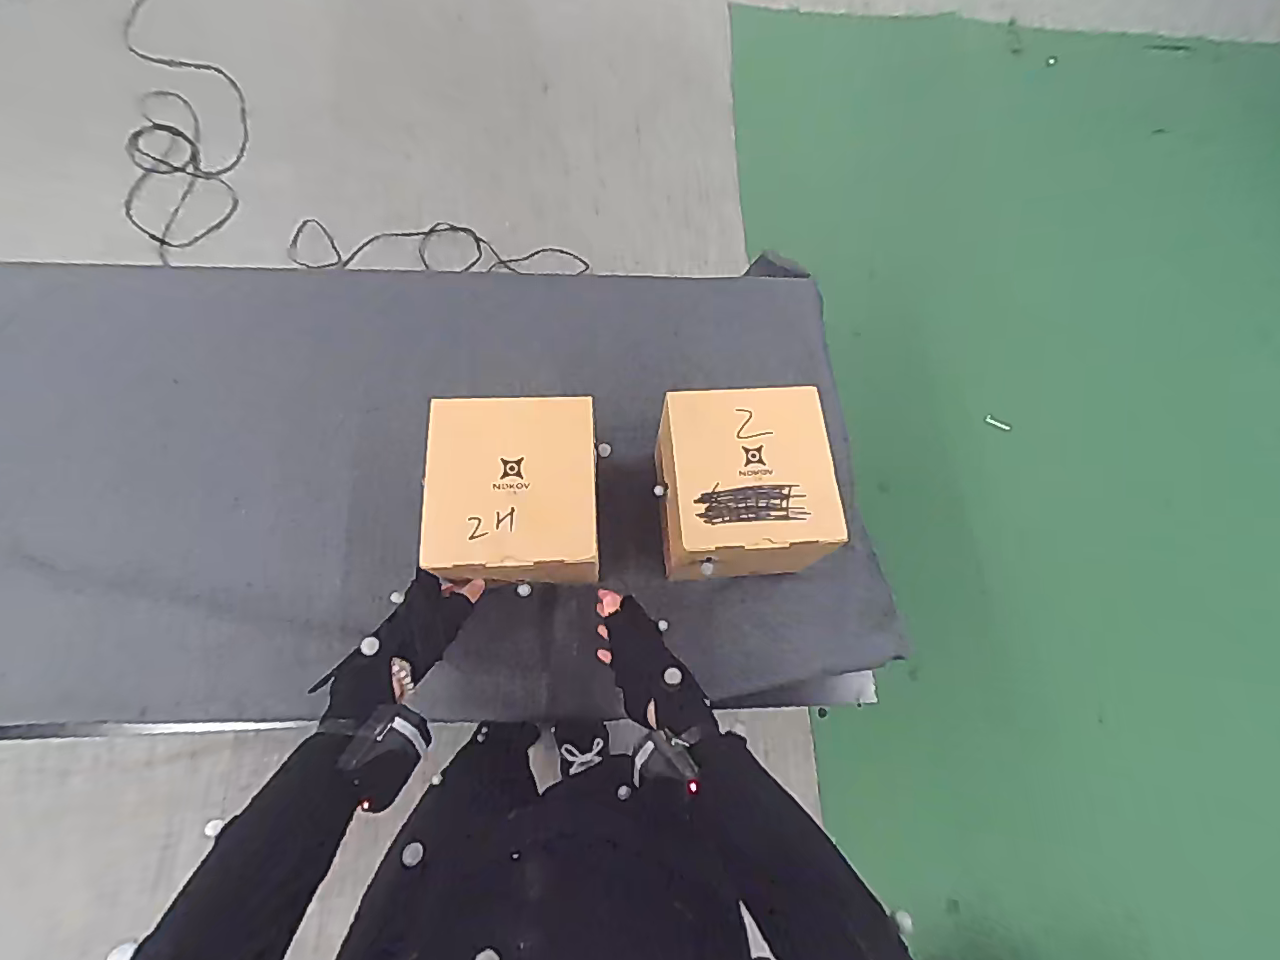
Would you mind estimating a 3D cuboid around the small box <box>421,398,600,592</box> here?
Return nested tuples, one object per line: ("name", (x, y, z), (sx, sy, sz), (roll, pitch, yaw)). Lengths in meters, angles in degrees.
("small box", (-0.129, 0.024, 0.606), (0.168, 0.176, 0.179), (-1, 71, -4))
